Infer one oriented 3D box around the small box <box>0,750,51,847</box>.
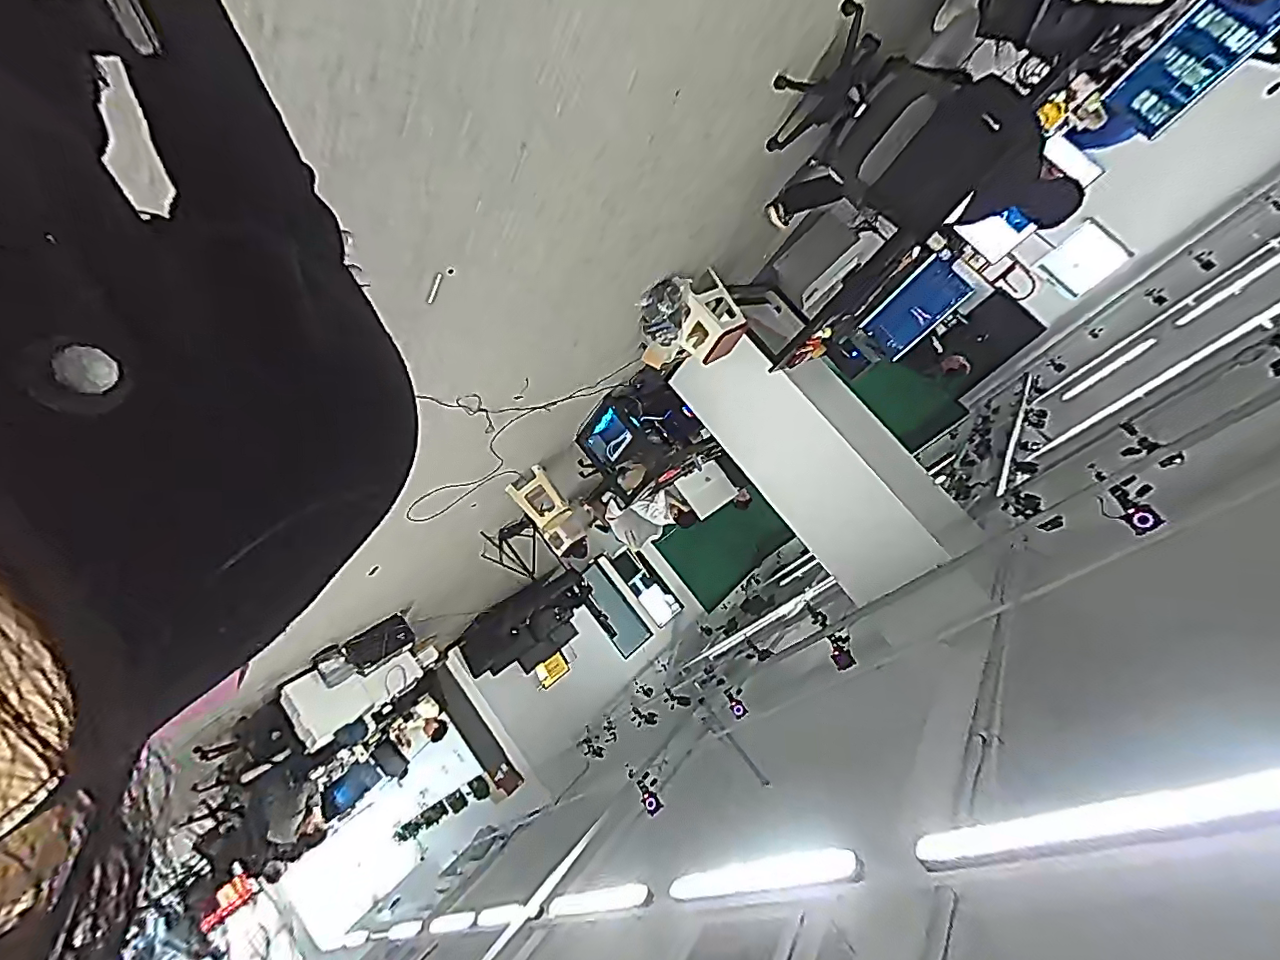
[{"bbox_3d":[-1.552,0.776,1.281,0.179,0.176,0.168,-47,169,36],"label":"small box"}]
